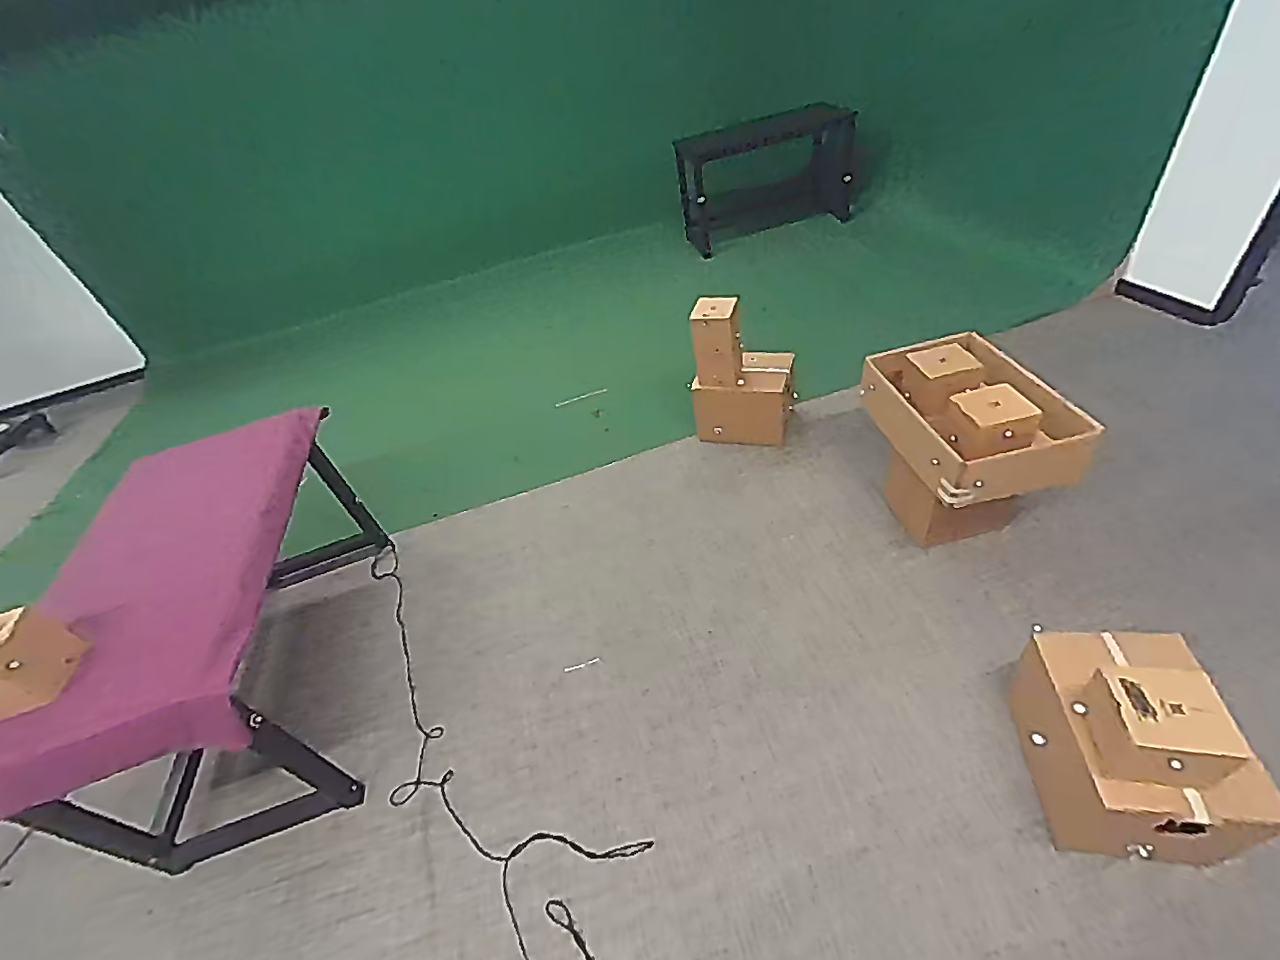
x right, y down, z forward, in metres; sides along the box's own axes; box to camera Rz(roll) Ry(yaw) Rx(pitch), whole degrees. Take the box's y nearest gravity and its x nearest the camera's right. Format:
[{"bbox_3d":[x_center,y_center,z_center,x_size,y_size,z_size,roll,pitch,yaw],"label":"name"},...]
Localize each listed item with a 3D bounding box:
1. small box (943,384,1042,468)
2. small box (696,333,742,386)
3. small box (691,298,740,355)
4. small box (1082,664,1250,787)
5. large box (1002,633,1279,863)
[{"bbox_3d":[1.049,-0.161,1.628,0.179,0.176,0.168,-14,42,3],"label":"small box"},{"bbox_3d":[0.354,-0.535,2.384,0.168,0.176,0.179,6,47,21],"label":"small box"},{"bbox_3d":[0.321,-0.646,2.267,0.168,0.176,0.179,6,46,21],"label":"small box"},{"bbox_3d":[1.026,0.490,1.080,0.179,0.176,0.168,0,43,17],"label":"small box"},{"bbox_3d":[1.126,0.622,1.279,0.320,0.320,0.408,-2,42,13],"label":"large box"}]
